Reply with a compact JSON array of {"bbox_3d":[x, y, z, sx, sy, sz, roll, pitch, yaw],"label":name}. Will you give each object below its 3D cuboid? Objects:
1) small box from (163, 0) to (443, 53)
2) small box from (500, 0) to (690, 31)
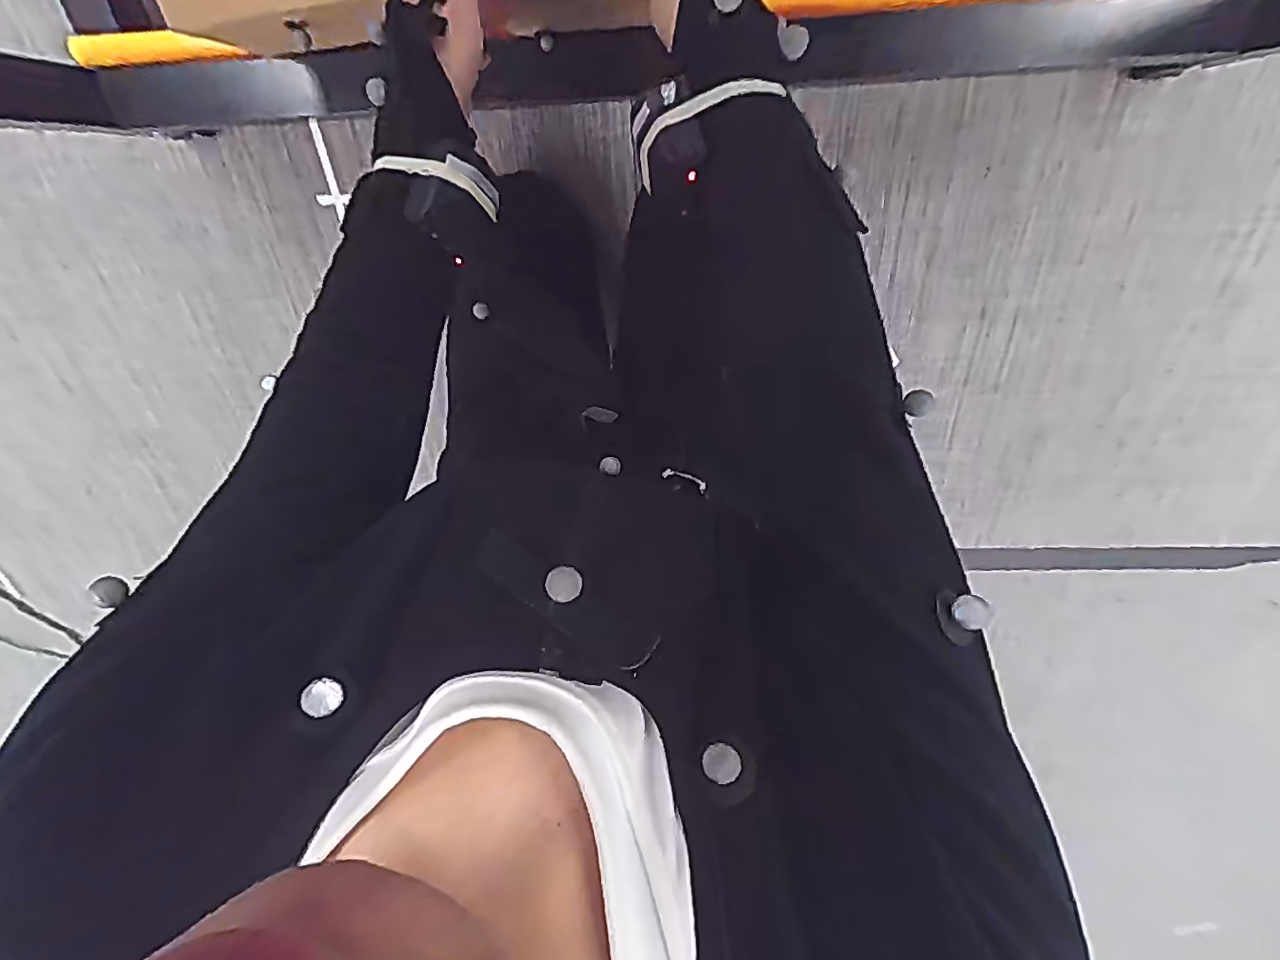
[{"bbox_3d":[-0.273,-0.460,0.423,0.179,0.176,0.168,-7,121,5],"label":"small box"},{"bbox_3d":[-0.039,-0.467,0.404,0.168,0.176,0.179,-3,114,1],"label":"small box"}]
